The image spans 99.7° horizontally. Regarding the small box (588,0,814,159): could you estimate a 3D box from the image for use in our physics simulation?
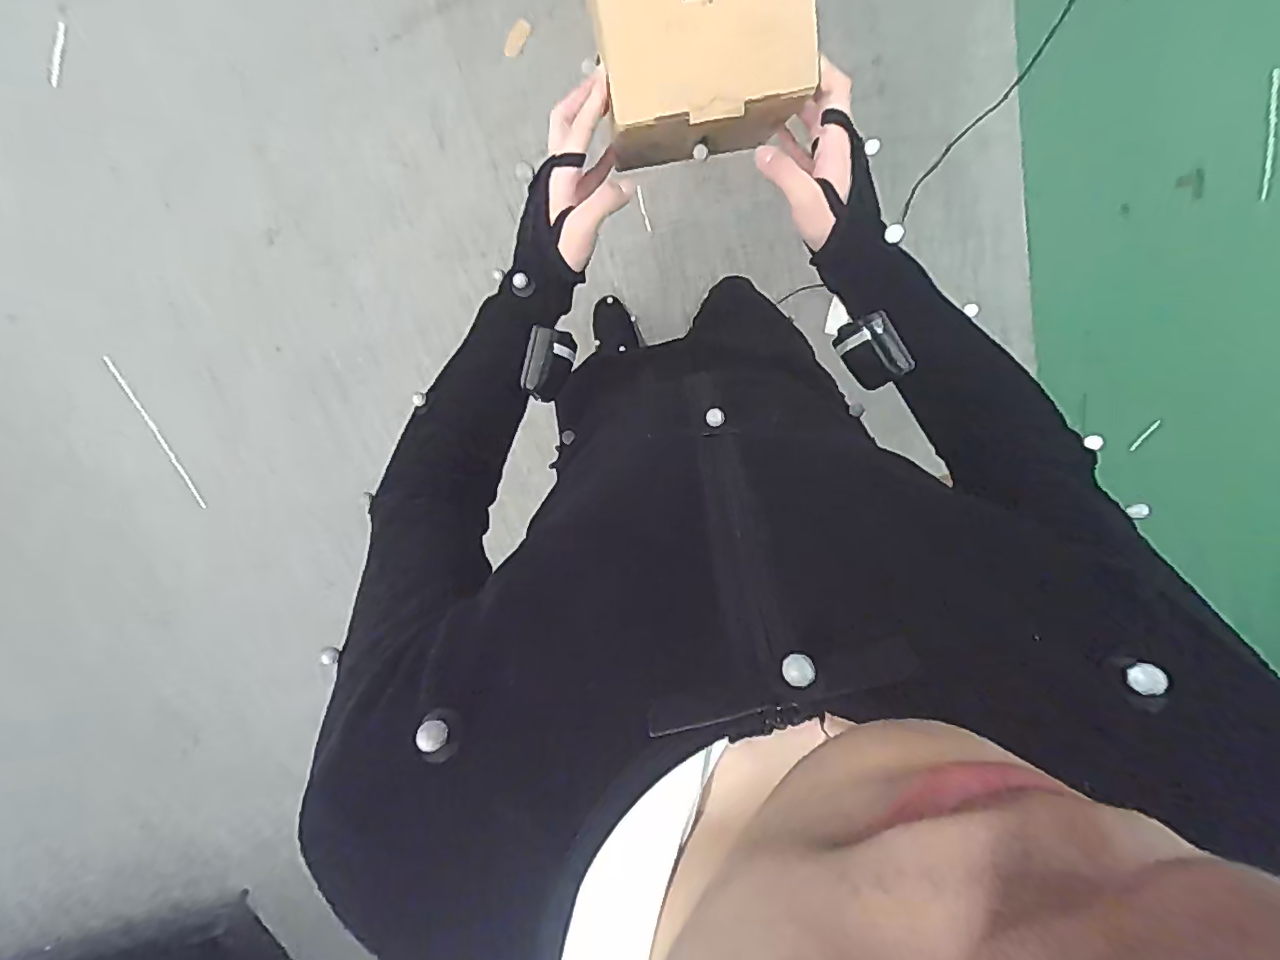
[{"bbox_3d":[0.043,-0.403,0.478,0.168,0.176,0.179,-10,110,1],"label":"small box"}]
